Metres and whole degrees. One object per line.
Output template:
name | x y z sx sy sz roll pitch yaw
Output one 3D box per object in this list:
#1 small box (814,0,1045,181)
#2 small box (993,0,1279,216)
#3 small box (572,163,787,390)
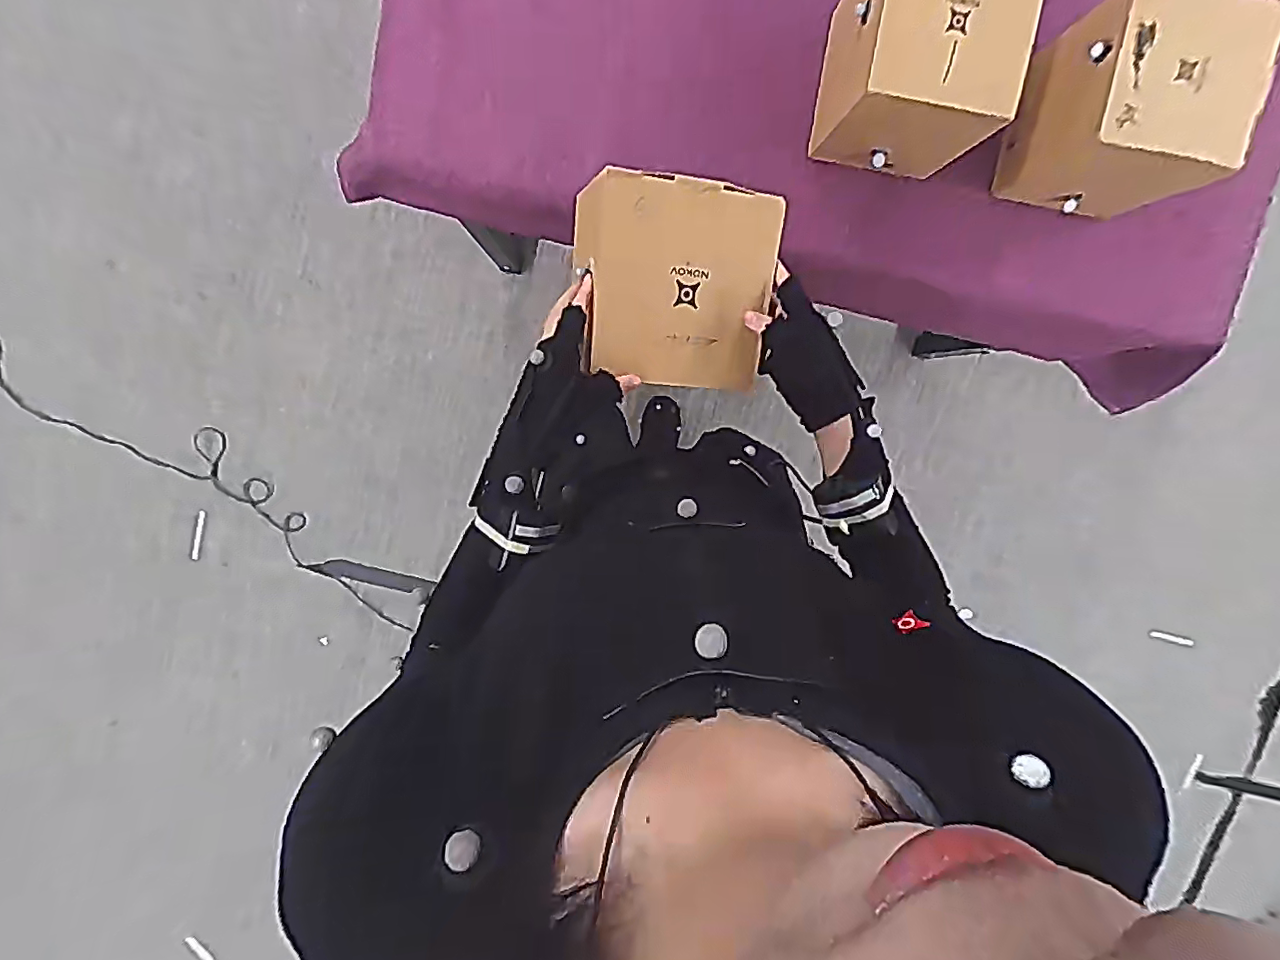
small box | 0.320 -0.482 0.625 0.168 0.176 0.179 8 99 -5
small box | 0.579 -0.437 0.650 0.179 0.176 0.168 8 98 -5
small box | 0.024 -0.197 0.553 0.168 0.176 0.179 1 109 -14
